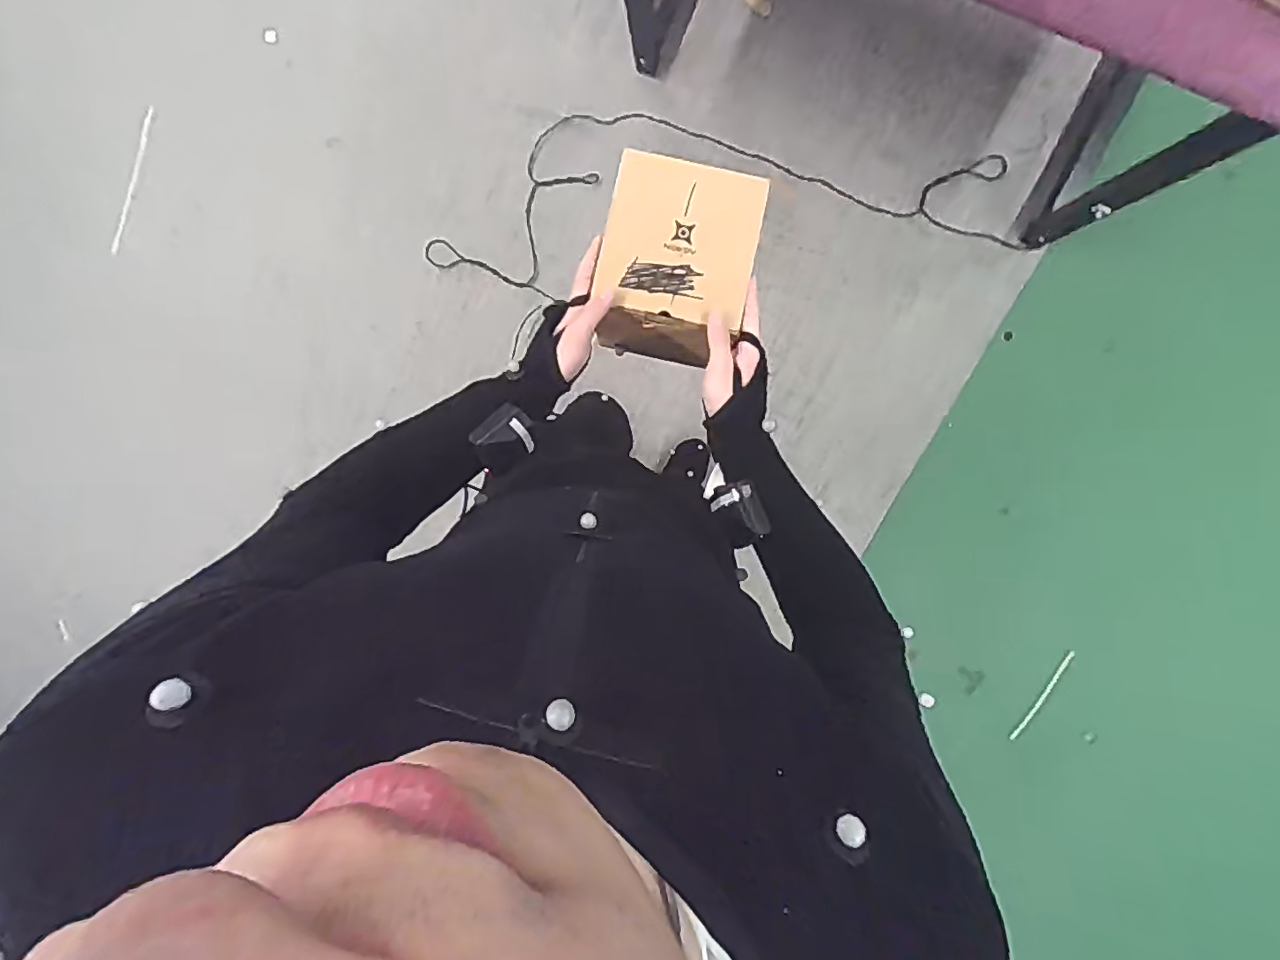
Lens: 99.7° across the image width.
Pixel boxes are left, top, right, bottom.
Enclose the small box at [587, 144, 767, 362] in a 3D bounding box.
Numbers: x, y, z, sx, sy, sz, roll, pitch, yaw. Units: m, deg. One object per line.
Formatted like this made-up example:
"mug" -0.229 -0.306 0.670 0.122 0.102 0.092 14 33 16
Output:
"small box" 0.040 -0.256 0.653 0.168 0.176 0.179 12 88 0
